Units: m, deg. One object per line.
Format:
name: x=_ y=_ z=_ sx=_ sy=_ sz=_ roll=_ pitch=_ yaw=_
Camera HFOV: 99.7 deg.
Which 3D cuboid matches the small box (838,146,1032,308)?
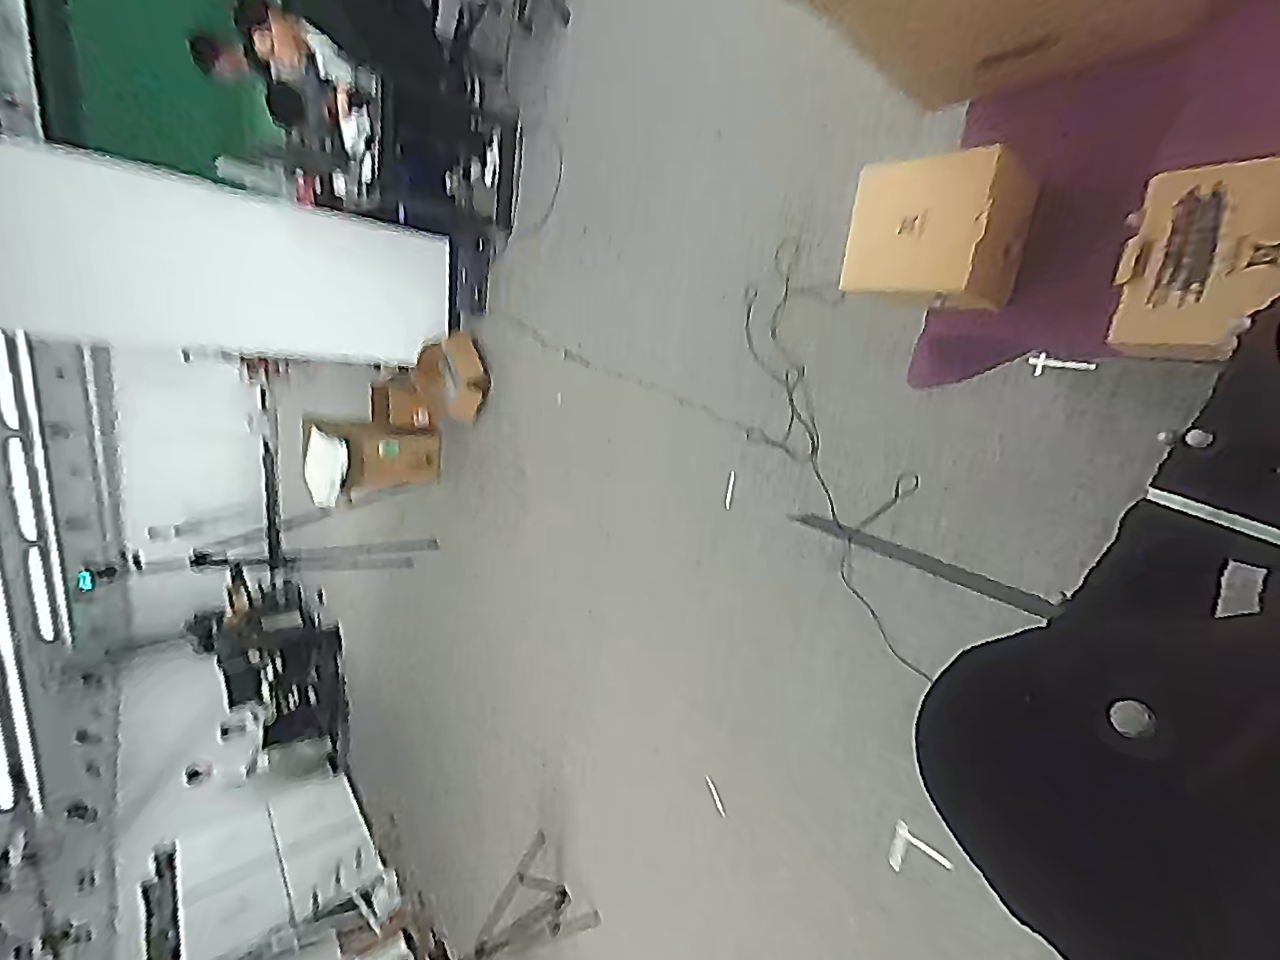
small box: x=0.414 y=-0.341 z=0.764 sx=0.179 sy=0.176 sz=0.168 roll=20 pitch=109 yaw=44
